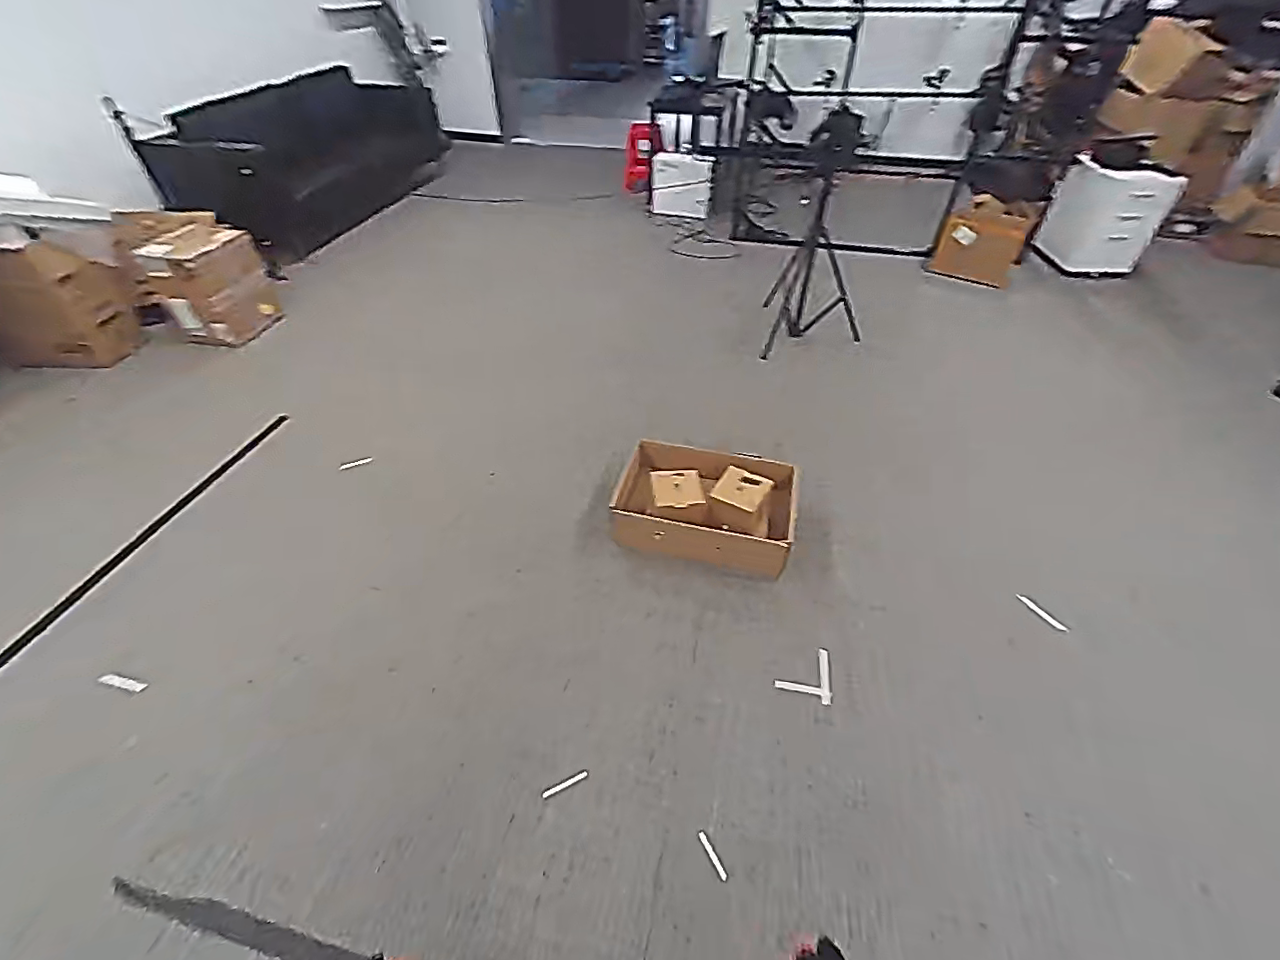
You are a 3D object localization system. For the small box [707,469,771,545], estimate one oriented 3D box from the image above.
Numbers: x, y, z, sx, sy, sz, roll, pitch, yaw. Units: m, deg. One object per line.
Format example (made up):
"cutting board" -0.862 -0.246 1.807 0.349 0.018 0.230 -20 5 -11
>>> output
"small box" 0.348 0.095 1.925 0.168 0.176 0.179 22 49 24
